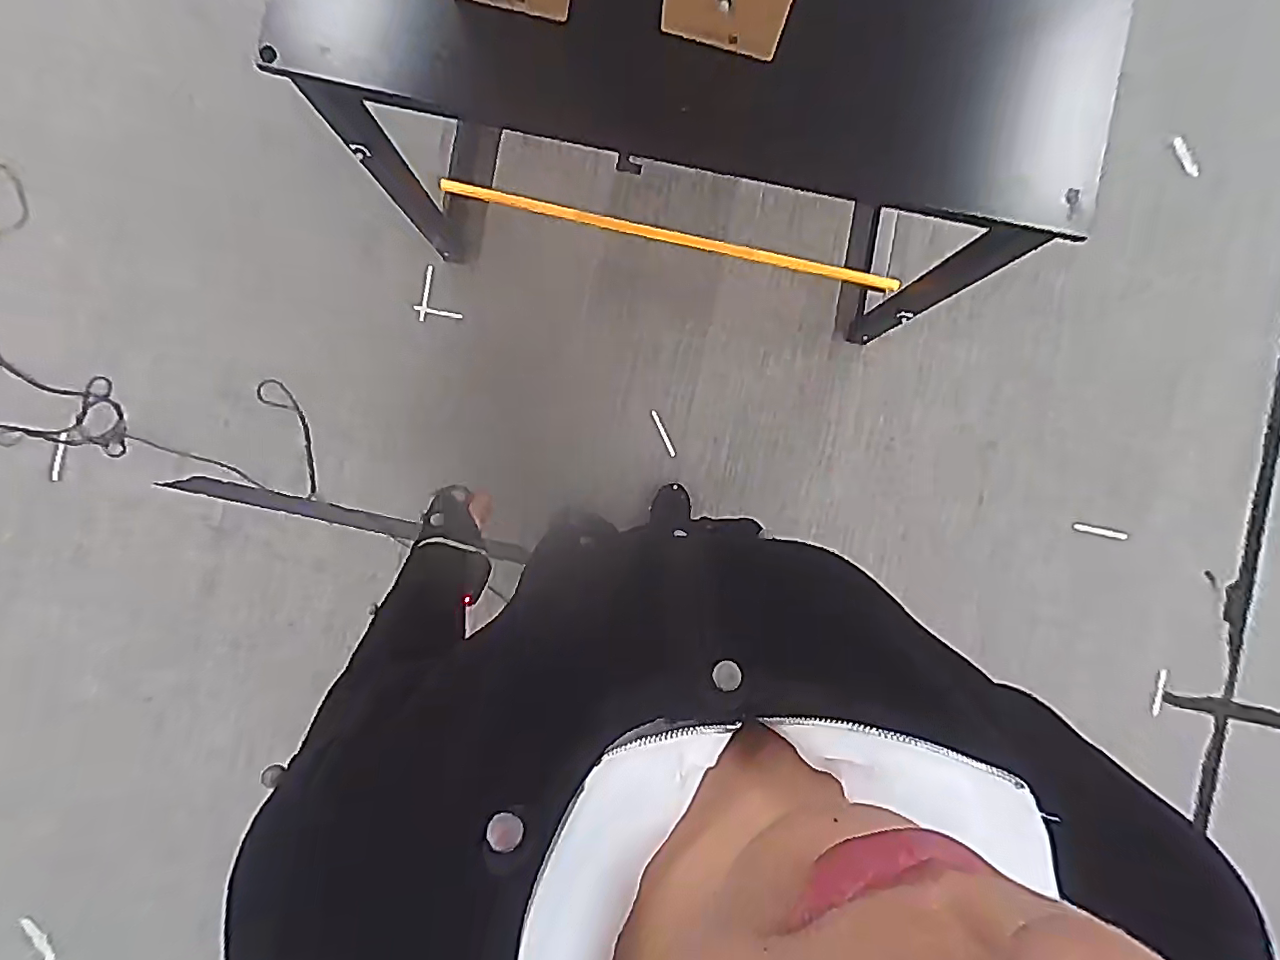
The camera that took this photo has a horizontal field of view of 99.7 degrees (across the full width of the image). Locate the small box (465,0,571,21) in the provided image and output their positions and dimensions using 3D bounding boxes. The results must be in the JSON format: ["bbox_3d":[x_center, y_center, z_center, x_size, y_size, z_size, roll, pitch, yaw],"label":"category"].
[{"bbox_3d":[-0.165,-0.745,0.681,0.168,0.176,0.179,11,91,-1],"label":"small box"}]

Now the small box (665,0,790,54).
[{"bbox_3d":[0.130,-0.701,0.688,0.168,0.176,0.179,15,90,-1],"label":"small box"}]
